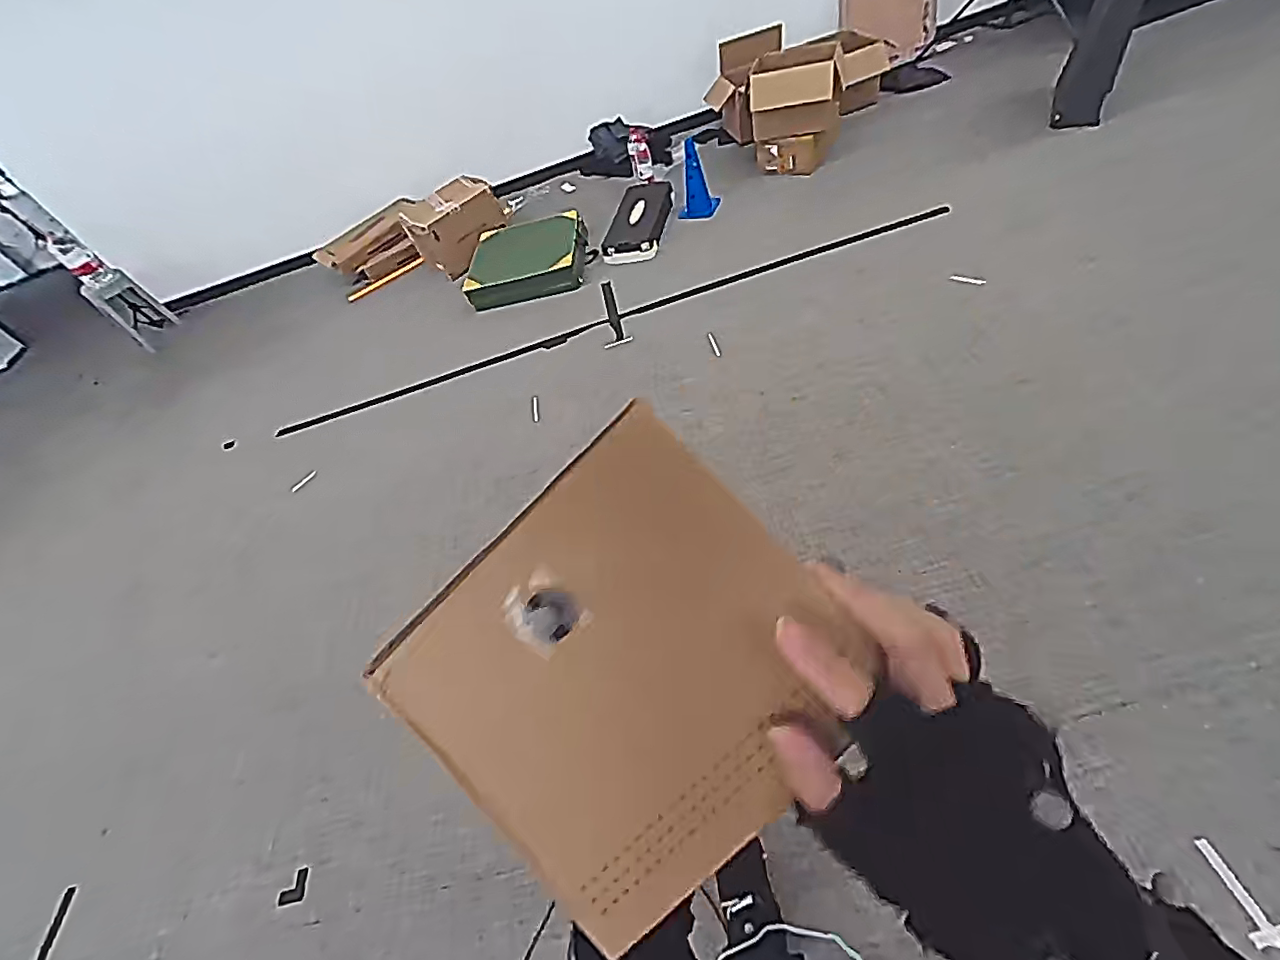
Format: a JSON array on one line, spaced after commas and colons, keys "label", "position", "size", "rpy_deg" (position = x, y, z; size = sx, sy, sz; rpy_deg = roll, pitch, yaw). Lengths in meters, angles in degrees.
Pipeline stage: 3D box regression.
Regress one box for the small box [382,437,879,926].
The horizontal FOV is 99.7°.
[{"label": "small box", "position": [0.001, 0.097, 0.323], "size": [0.176, 0.168, 0.179], "rpy_deg": [45, 96, 4]}]
